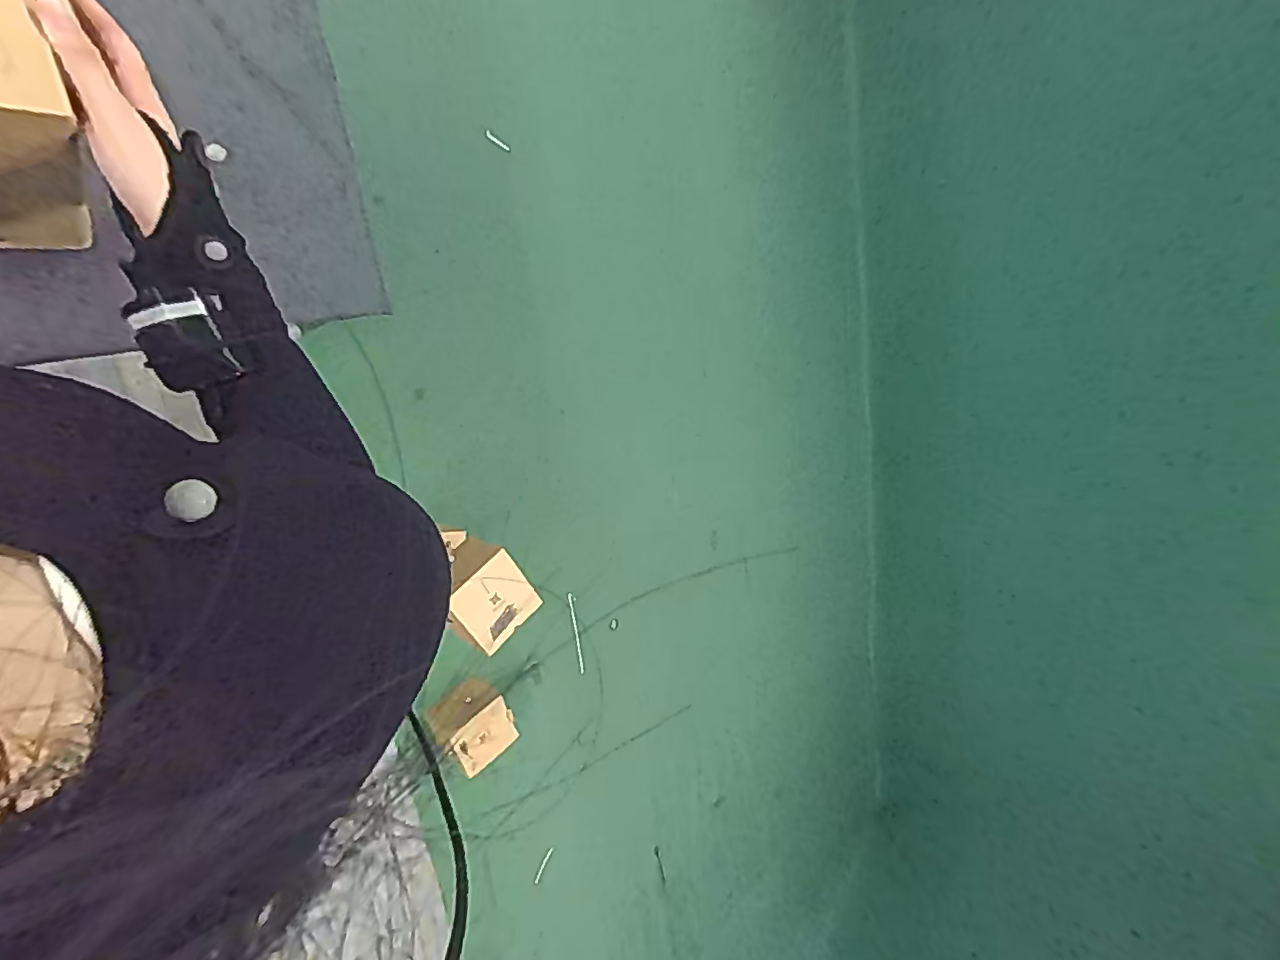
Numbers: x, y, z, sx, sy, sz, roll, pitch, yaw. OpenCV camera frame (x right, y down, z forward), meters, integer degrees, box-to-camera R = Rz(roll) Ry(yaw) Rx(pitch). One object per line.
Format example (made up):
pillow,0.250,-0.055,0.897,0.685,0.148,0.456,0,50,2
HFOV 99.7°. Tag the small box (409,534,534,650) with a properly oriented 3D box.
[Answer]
small box,-0.379,0.242,1.216,0.168,0.176,0.179,-45,123,-30

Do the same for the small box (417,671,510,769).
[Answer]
small box,-0.521,0.697,1.594,0.179,0.176,0.168,-32,117,-39

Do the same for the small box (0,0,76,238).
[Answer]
small box,-0.562,-0.290,0.401,0.168,0.176,0.179,-20,108,-42
